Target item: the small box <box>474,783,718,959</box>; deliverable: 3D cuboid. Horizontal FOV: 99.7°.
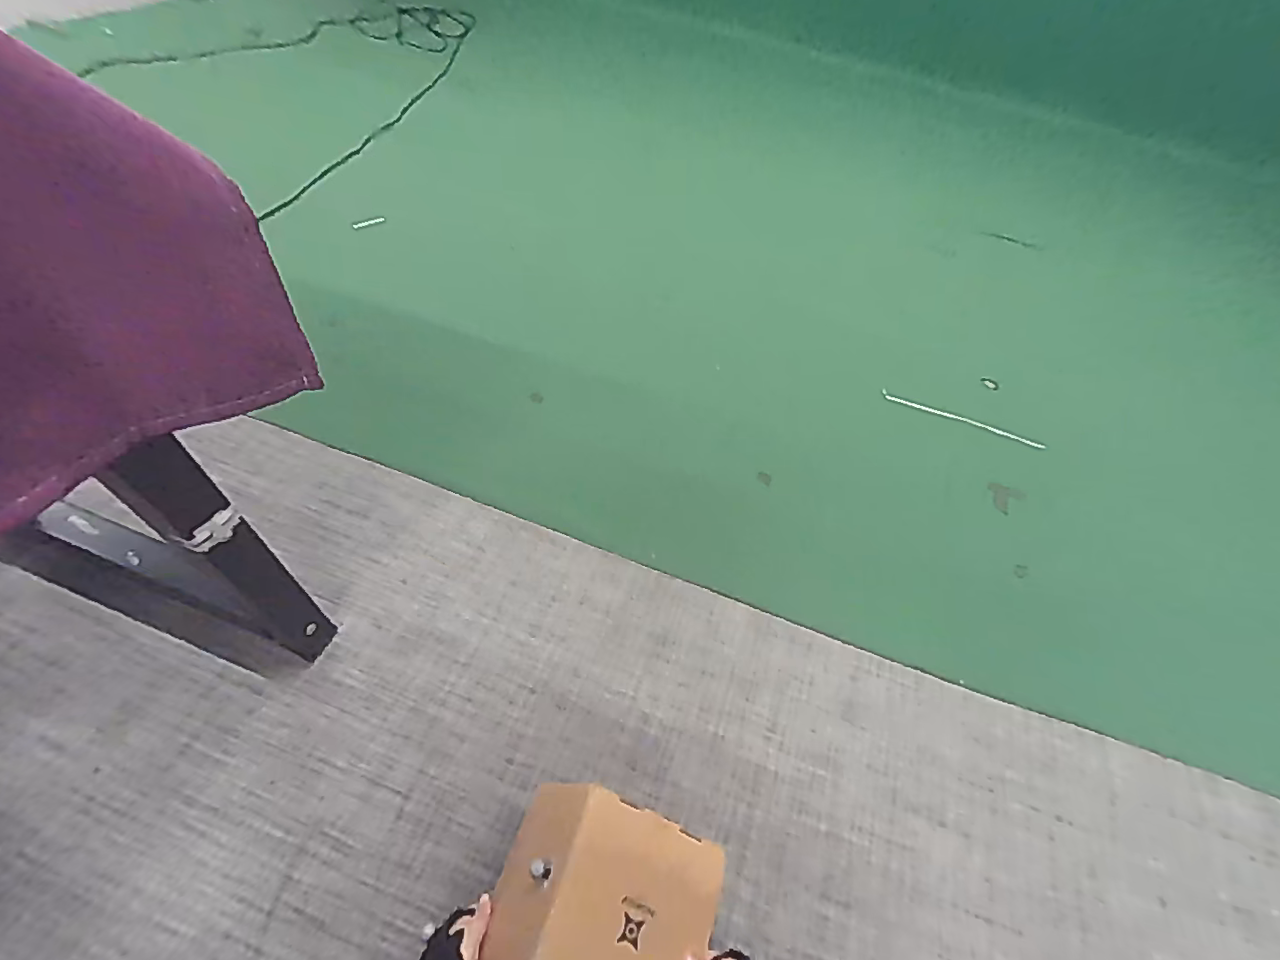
[{"bbox_3d":[-0.050,0.436,0.554,0.168,0.176,0.179,34,51,-12],"label":"small box"}]
